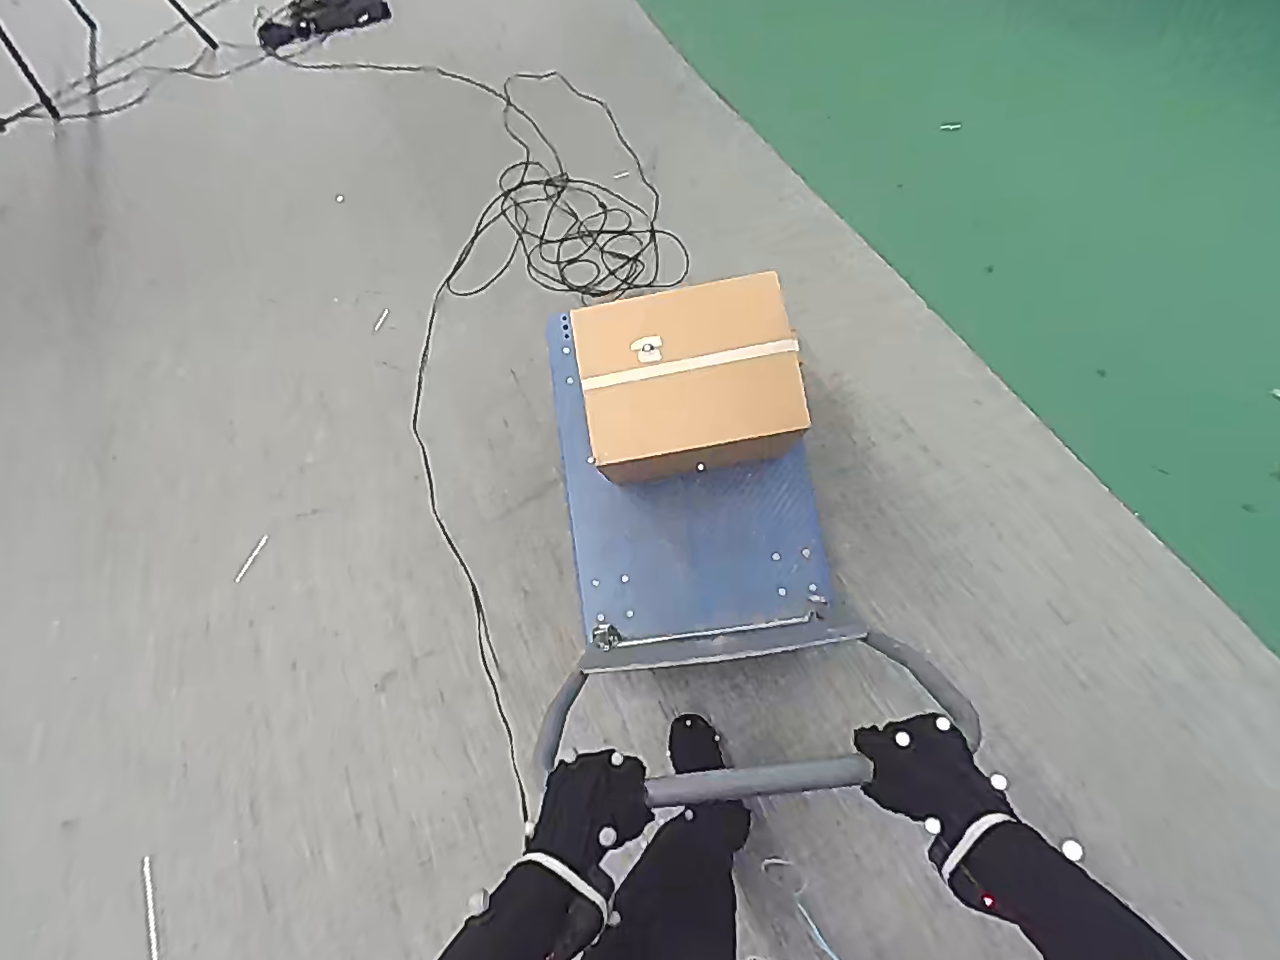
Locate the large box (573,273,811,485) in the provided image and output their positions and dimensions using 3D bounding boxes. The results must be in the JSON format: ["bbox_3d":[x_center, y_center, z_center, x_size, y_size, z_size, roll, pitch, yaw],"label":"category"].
[{"bbox_3d":[0.107,-0.187,1.158,0.408,0.320,0.320,-11,82,5],"label":"large box"}]
